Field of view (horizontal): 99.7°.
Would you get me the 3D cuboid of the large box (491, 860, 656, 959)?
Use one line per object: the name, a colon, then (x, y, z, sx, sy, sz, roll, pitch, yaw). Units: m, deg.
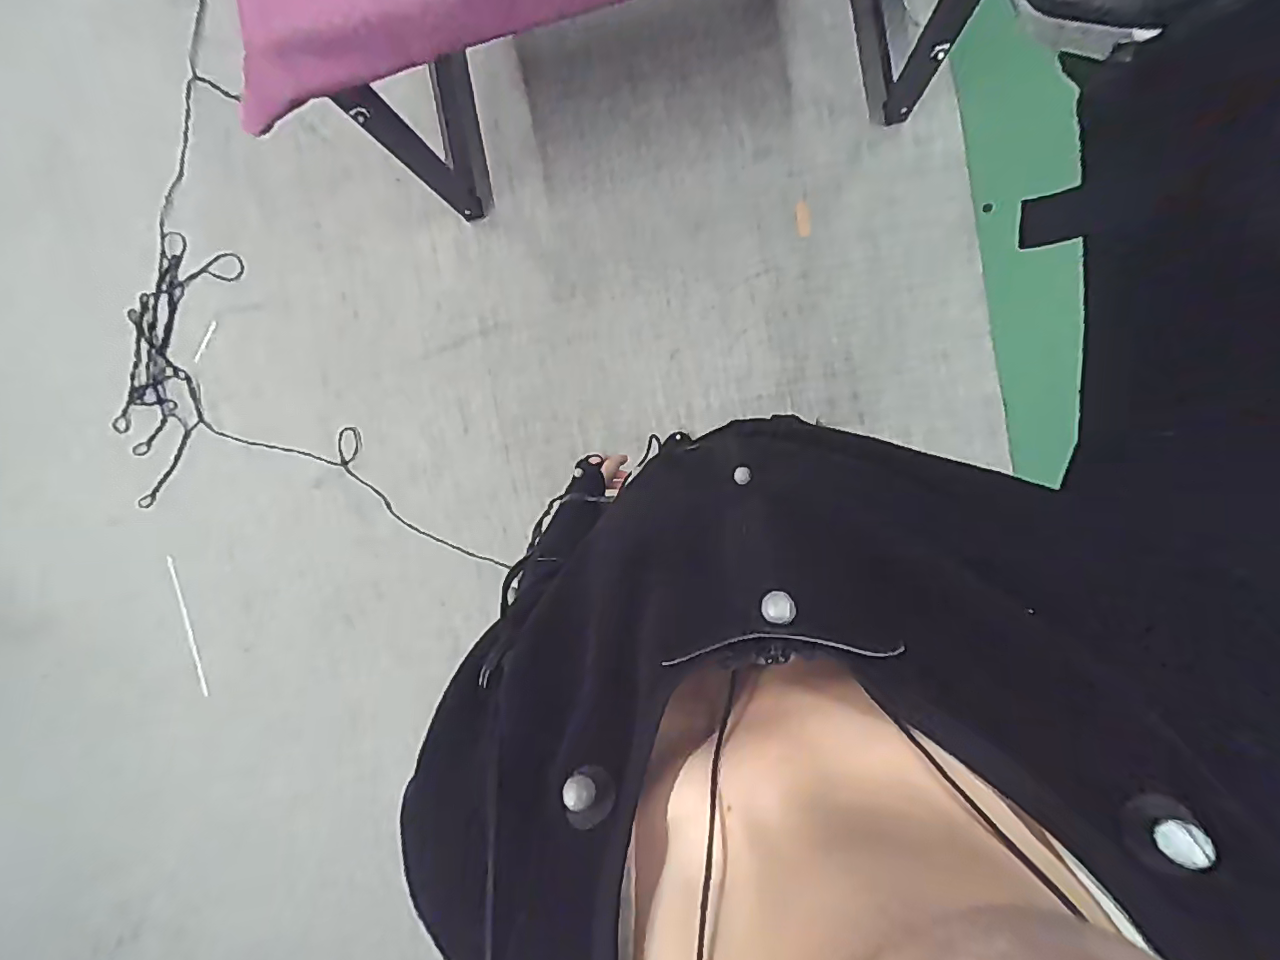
large box: (-0.191, 1.355, 1.506, 0.408, 0.320, 0.320, 12, 97, 5)

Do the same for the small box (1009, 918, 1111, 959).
small box: (0.906, 1.052, 1.087, 0.168, 0.176, 0.179, -44, 88, 8)
